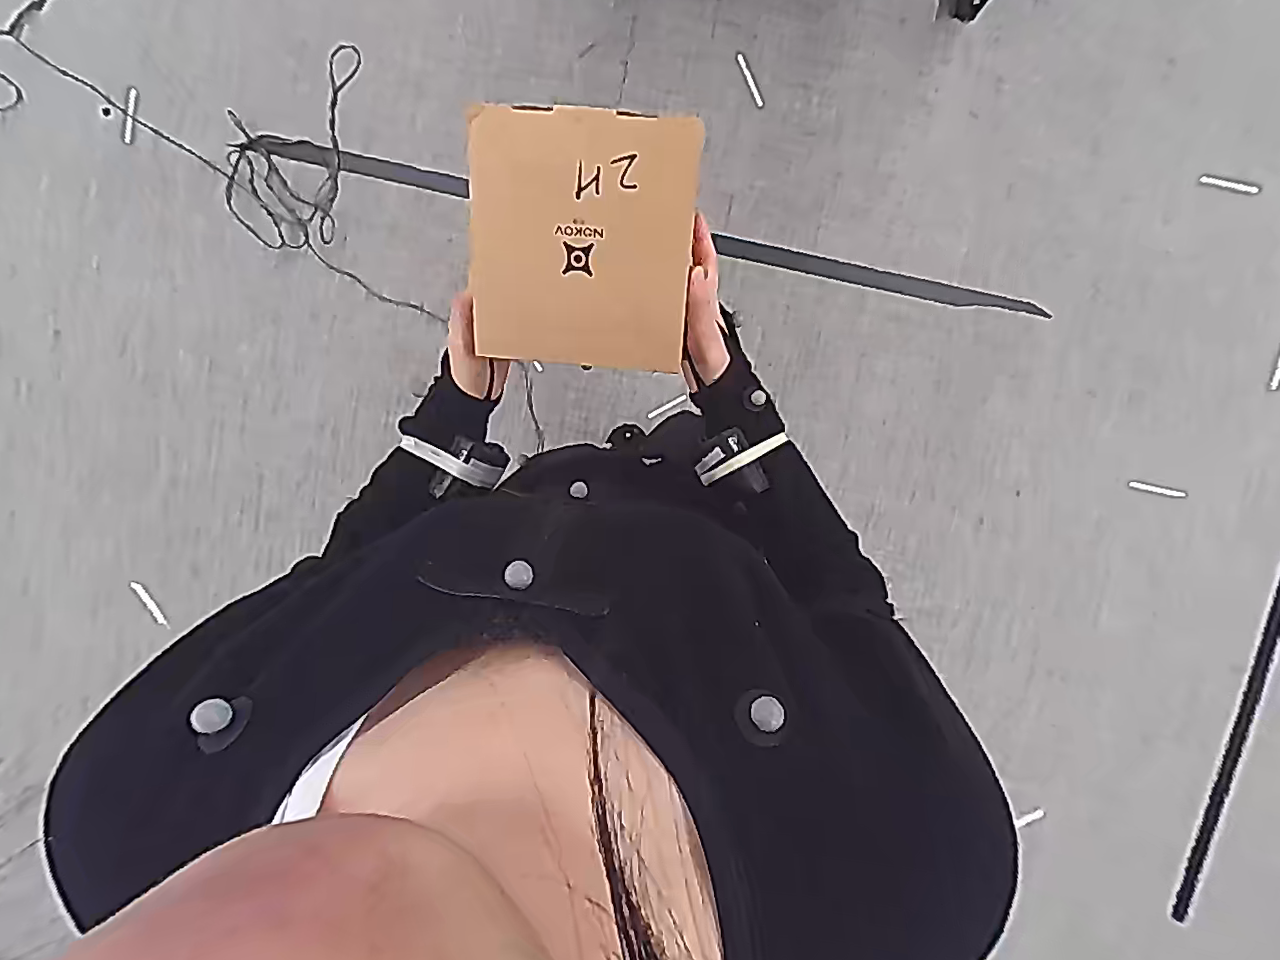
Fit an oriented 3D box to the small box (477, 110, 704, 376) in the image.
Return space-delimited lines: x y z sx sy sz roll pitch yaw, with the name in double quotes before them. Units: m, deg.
"small box" -0.036 -0.198 0.482 0.168 0.176 0.179 5 109 2
